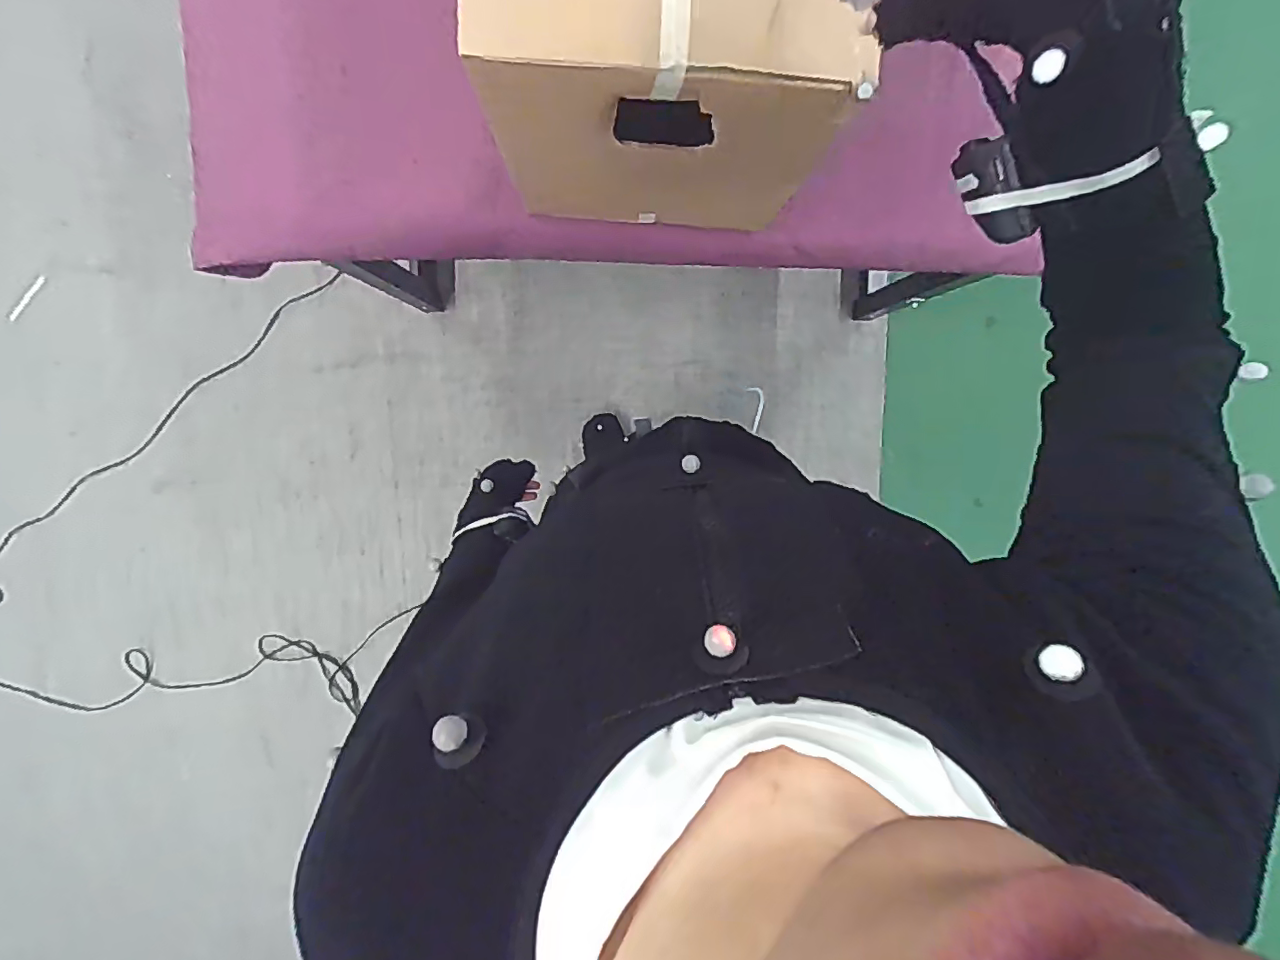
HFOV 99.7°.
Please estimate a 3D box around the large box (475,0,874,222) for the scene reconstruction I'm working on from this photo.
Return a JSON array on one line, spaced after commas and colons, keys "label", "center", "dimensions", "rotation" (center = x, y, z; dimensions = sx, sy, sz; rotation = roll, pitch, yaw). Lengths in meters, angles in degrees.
[{"label": "large box", "center": [0.025, -0.526, 0.538], "dimensions": [0.320, 0.320, 0.408], "rotation": [2, 98, -3]}]
